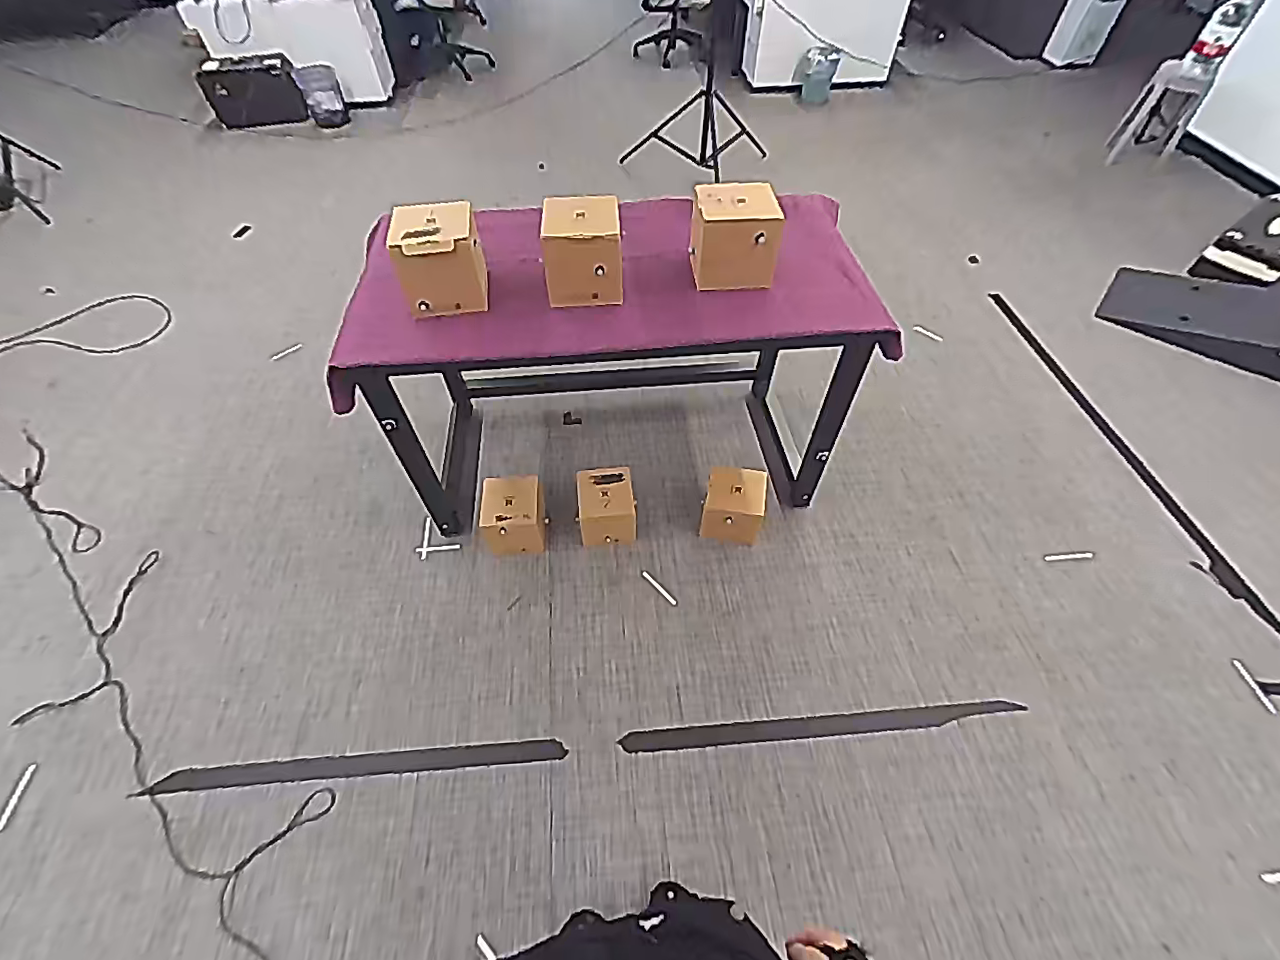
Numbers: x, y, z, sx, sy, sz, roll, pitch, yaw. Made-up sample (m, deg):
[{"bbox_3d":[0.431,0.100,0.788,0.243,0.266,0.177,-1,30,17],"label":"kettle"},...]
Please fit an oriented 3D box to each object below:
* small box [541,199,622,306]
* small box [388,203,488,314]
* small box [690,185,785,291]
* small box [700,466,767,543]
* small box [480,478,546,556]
[{"bbox_3d":[-0.127,-0.507,1.217,0.168,0.176,0.179,-3,51,-3],"label":"small box"},{"bbox_3d":[-0.437,-0.482,1.195,0.168,0.176,0.179,-8,51,-6],"label":"small box"},{"bbox_3d":[0.217,-0.556,1.251,0.179,0.176,0.168,-3,52,-2],"label":"small box"},{"bbox_3d":[0.290,0.080,1.687,0.179,0.176,0.168,8,54,8],"label":"small box"},{"bbox_3d":[-0.383,0.114,1.661,0.168,0.176,0.179,-3,51,-2],"label":"small box"}]
